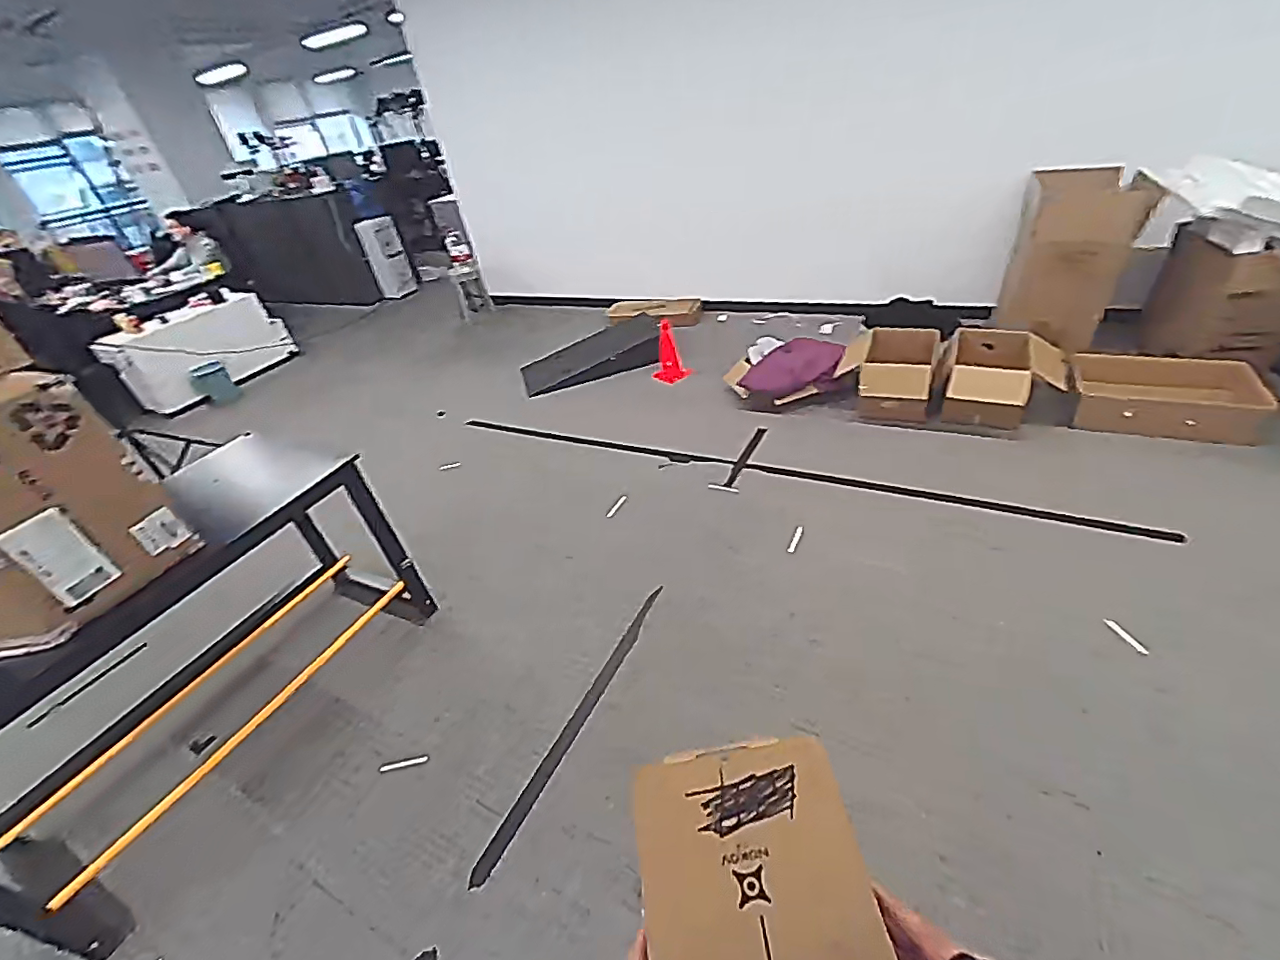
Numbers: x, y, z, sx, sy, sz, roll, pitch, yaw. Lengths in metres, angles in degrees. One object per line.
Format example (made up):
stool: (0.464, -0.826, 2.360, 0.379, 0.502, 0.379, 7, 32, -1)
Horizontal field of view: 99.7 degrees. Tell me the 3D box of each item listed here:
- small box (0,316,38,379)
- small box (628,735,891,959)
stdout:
small box: (-1.523, -0.301, 1.201, 0.179, 0.176, 0.168, 7, 37, 24)
small box: (0.090, 0.350, 0.457, 0.168, 0.176, 0.179, -12, 42, 0)
